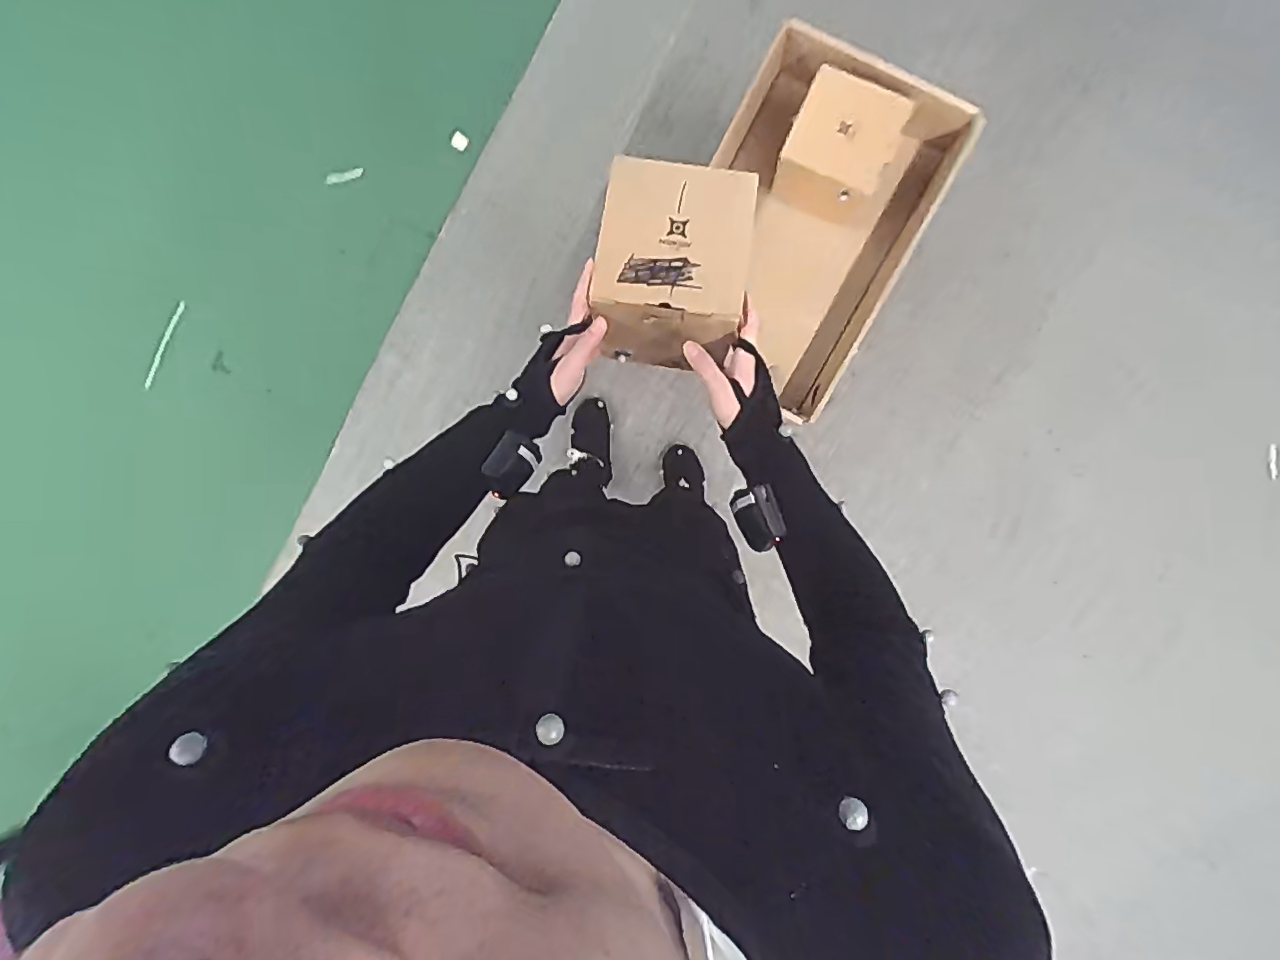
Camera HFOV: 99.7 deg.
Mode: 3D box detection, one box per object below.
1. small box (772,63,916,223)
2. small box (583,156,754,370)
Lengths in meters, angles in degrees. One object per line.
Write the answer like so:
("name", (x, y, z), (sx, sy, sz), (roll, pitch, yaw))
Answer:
("small box", (0.365, -0.611, 1.006), (0.179, 0.176, 0.168), (25, 97, 3))
("small box", (0.033, -0.249, 0.659), (0.168, 0.176, 0.179), (8, 80, 1))
